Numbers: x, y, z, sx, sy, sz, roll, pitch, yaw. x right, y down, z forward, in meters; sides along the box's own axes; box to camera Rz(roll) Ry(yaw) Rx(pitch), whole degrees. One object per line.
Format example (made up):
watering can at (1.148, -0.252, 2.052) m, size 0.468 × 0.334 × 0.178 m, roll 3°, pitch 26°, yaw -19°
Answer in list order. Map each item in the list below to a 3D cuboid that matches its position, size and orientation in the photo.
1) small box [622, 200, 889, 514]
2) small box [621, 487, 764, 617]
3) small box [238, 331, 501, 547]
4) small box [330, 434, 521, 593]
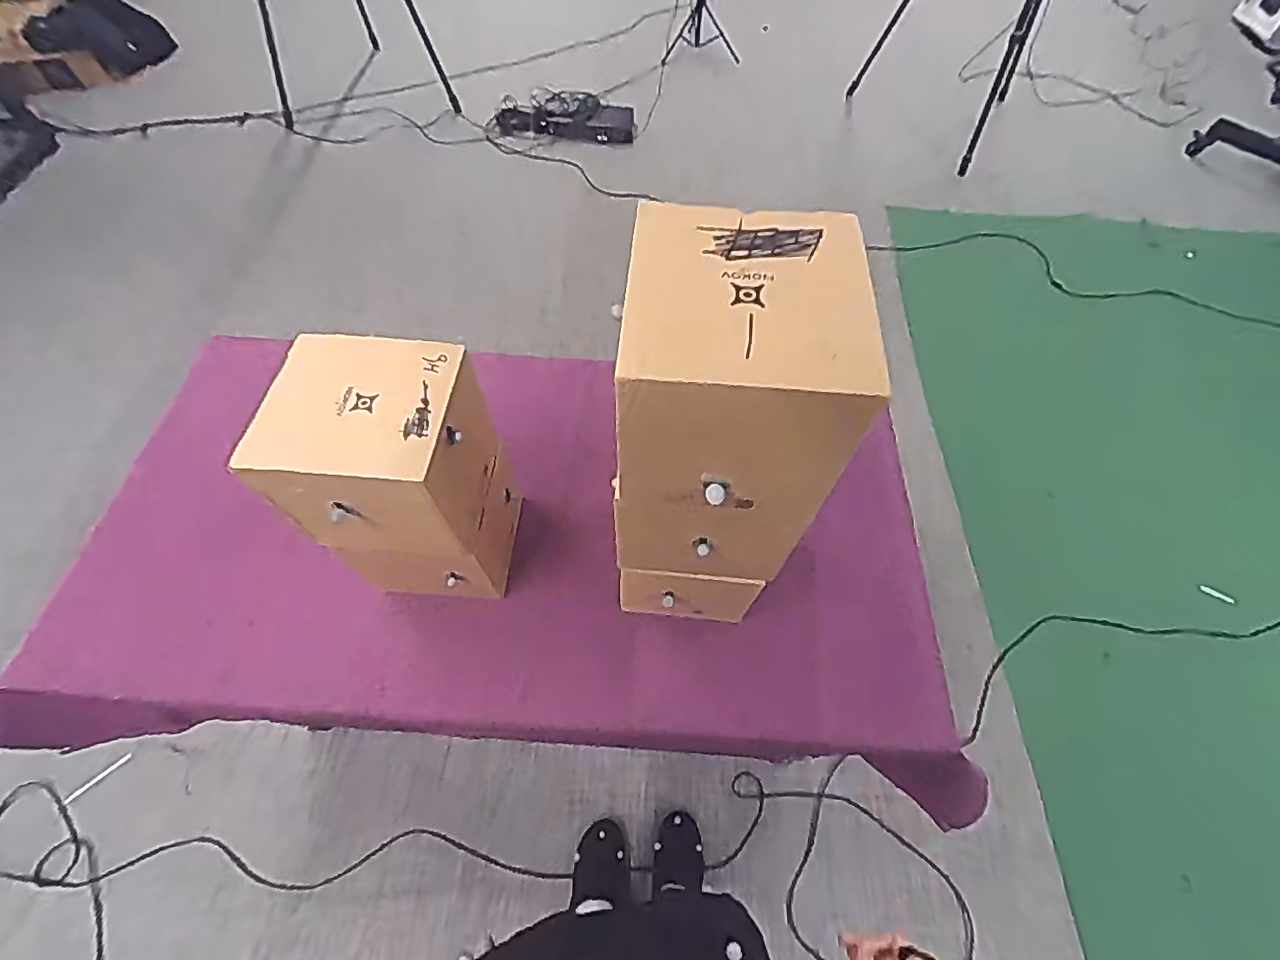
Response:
small box at (0.074, -0.092, 0.437) m, size 0.168 × 0.176 × 0.179 m, roll 4°, pitch 60°, yaw 2°
small box at (0.067, 0.072, 0.723) m, size 0.168 × 0.176 × 0.179 m, roll 5°, pitch 59°, yaw 1°
small box at (-0.266, -0.038, 0.584) m, size 0.179 × 0.176 × 0.168 m, roll 5°, pitch 59°, yaw 1°
small box at (-0.267, 0.044, 0.727) m, size 0.179 × 0.176 × 0.168 m, roll 4°, pitch 59°, yaw 1°
